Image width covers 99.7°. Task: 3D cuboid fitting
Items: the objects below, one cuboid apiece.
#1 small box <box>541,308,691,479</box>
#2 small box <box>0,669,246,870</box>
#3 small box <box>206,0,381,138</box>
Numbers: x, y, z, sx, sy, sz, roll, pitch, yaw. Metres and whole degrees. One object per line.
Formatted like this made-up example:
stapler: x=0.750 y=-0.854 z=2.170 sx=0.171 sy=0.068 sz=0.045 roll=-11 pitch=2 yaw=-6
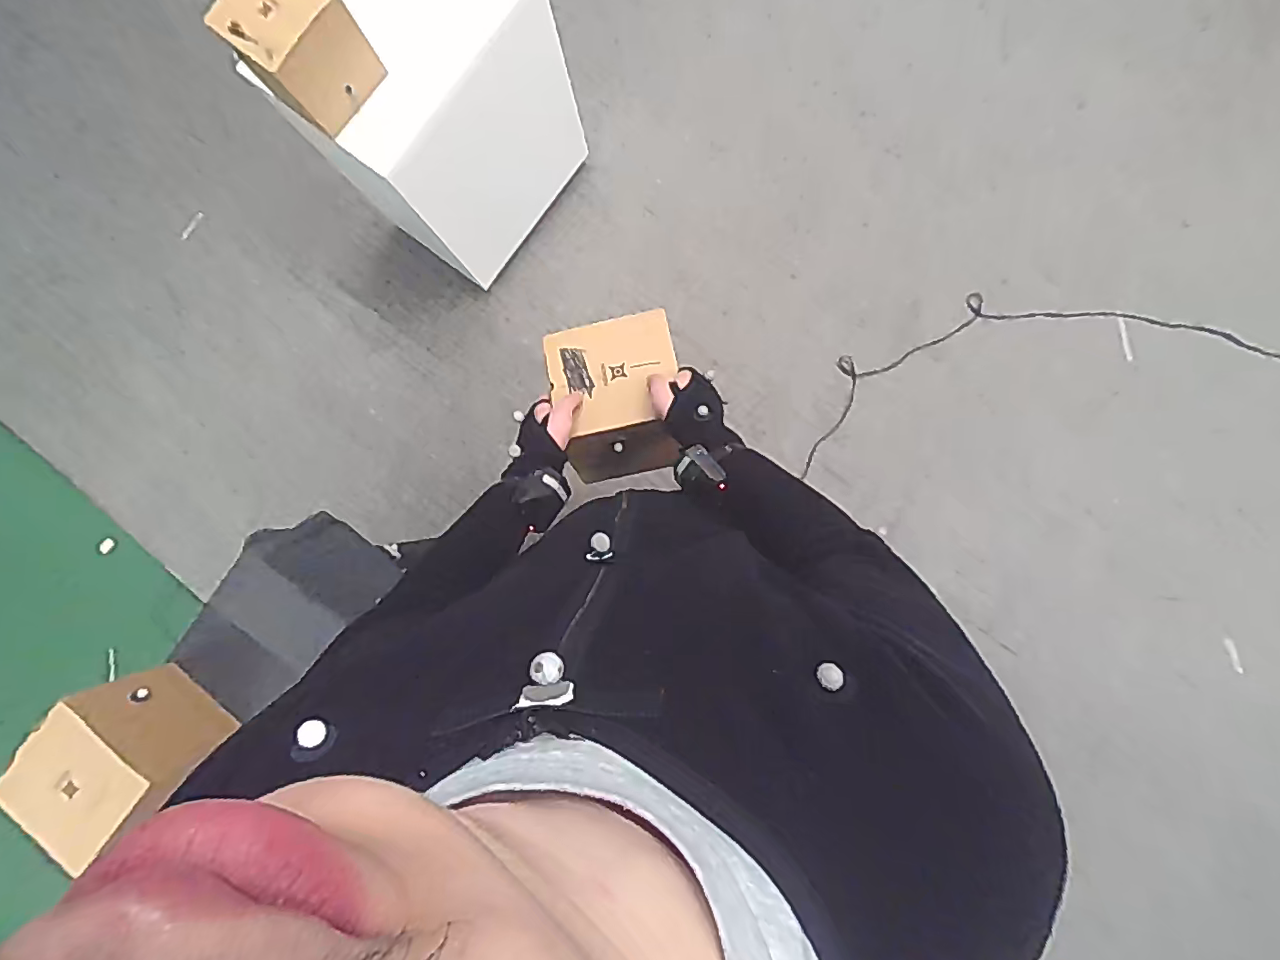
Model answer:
small box: x=-0.028 y=-0.114 z=0.780 sx=0.179 sy=0.176 sz=0.168 roll=-12 pitch=69 yaw=3
small box: x=-0.752 y=0.406 z=0.802 sx=0.179 sy=0.176 sz=0.168 roll=38 pitch=92 yaw=4
small box: x=-0.607 y=-0.779 z=0.978 sx=0.168 sy=0.176 sz=0.179 roll=38 pitch=89 yaw=5
